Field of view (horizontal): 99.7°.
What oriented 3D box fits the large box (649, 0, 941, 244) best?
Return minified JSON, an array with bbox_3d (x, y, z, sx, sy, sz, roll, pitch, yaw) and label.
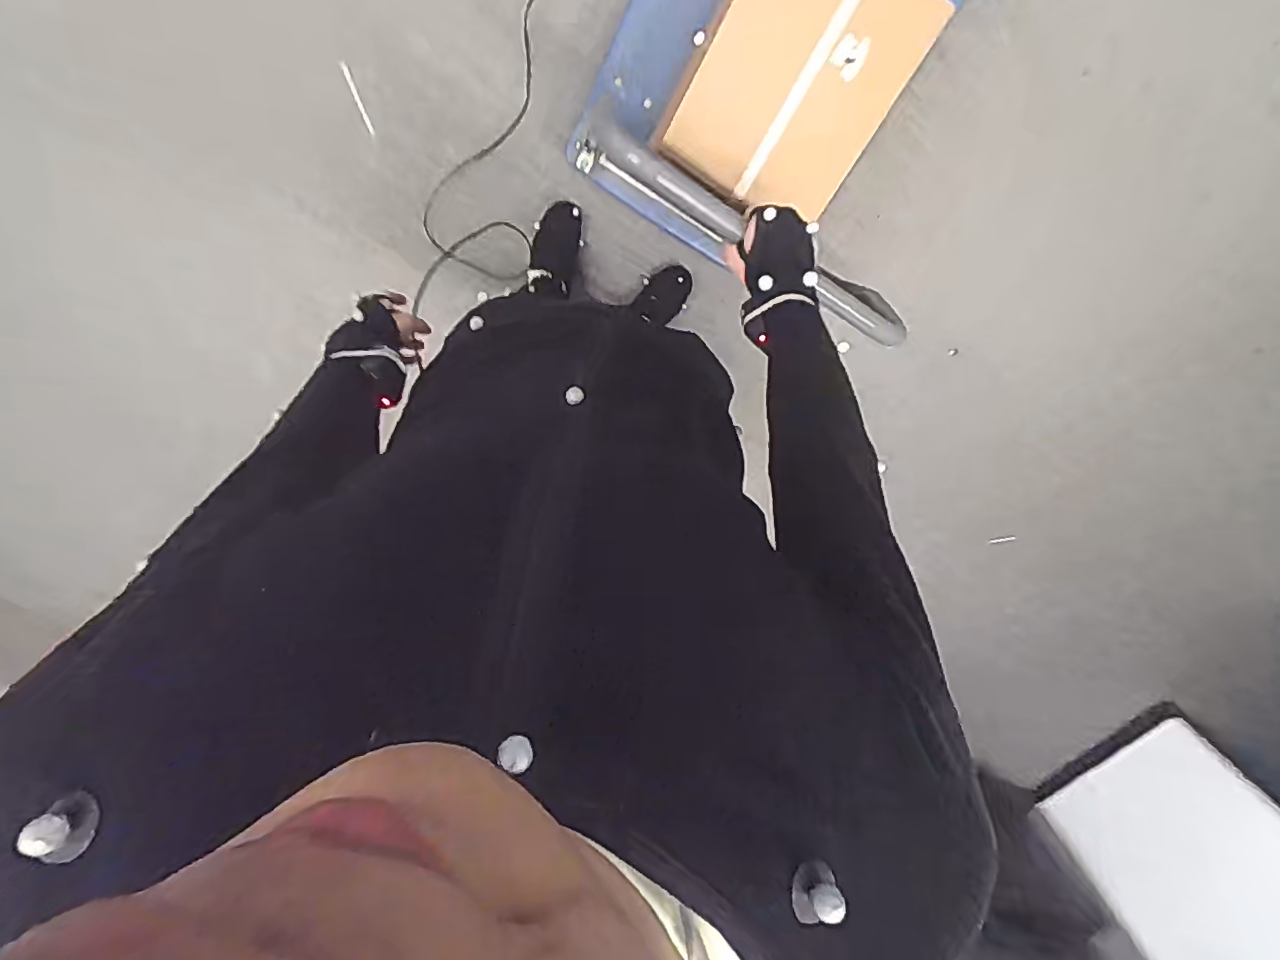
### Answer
[{"bbox_3d":[0.248,-0.724,1.028,0.320,0.320,0.408,25,114,-18],"label":"large box"}]
